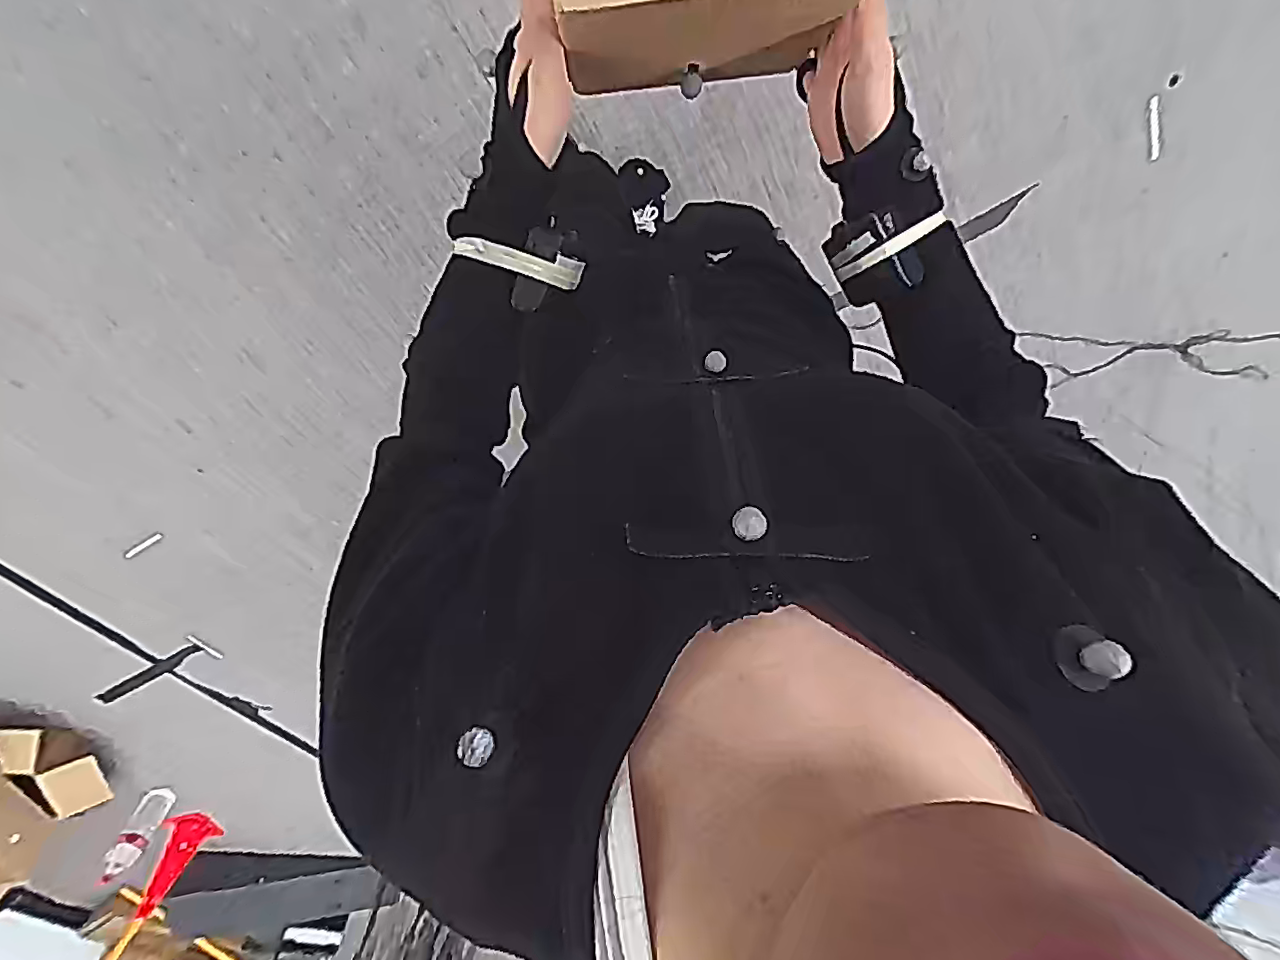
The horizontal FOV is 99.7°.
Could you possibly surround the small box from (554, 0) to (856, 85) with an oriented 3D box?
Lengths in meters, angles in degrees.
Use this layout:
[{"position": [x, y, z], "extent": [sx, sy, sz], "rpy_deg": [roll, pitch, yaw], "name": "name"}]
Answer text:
[{"position": [0.030, -0.360, 0.322], "extent": [0.179, 0.176, 0.168], "rpy_deg": [-6, 112, -2], "name": "small box"}]
